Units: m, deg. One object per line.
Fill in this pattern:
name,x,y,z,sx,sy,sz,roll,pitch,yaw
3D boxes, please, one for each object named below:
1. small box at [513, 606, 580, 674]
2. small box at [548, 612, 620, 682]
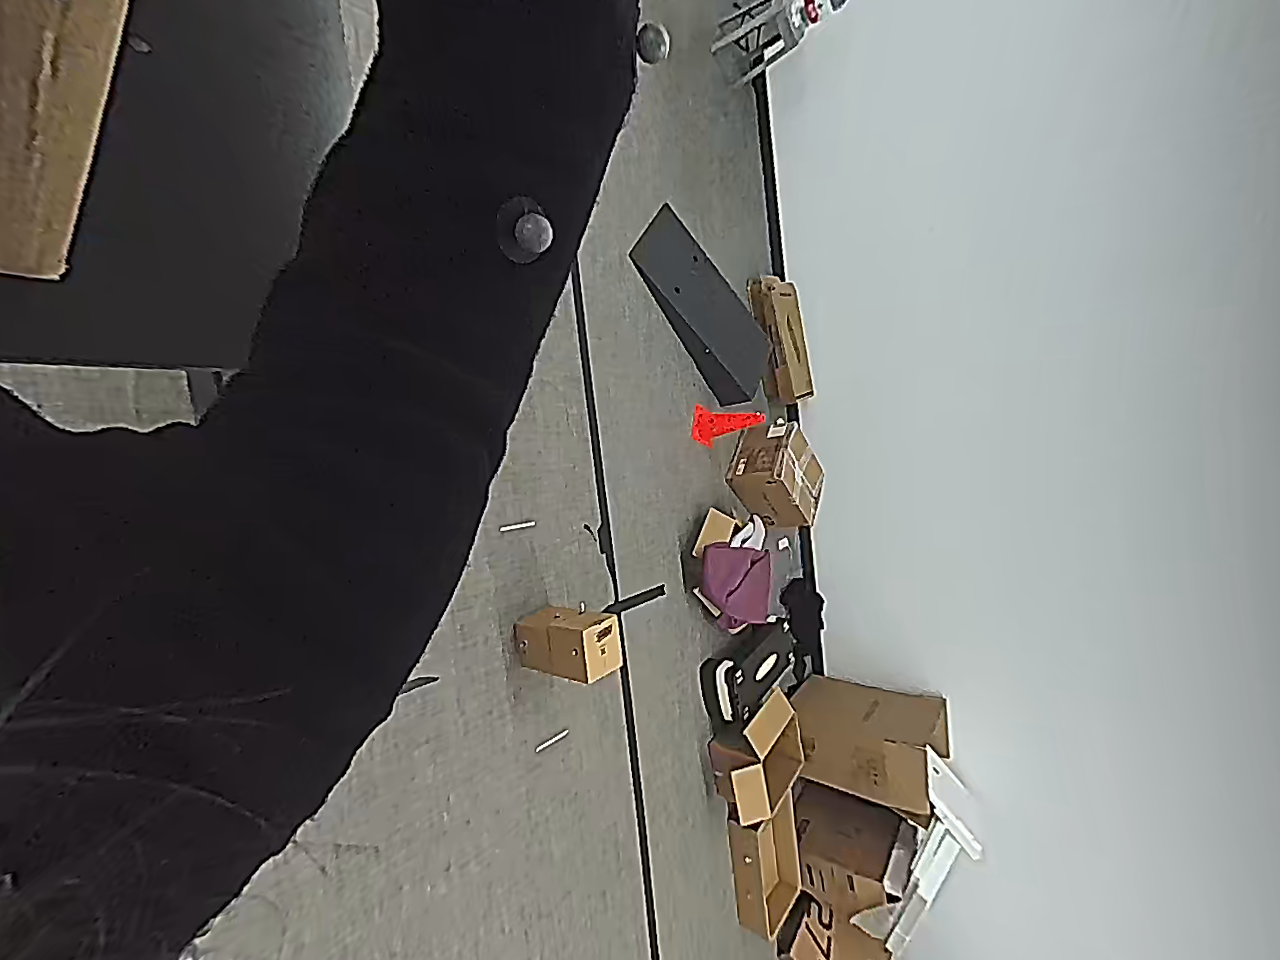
small box,-0.316,0.553,1.893,0.179,0.176,0.168,-16,99,-49
small box,-0.188,0.544,1.789,0.168,0.176,0.179,-10,95,-50
